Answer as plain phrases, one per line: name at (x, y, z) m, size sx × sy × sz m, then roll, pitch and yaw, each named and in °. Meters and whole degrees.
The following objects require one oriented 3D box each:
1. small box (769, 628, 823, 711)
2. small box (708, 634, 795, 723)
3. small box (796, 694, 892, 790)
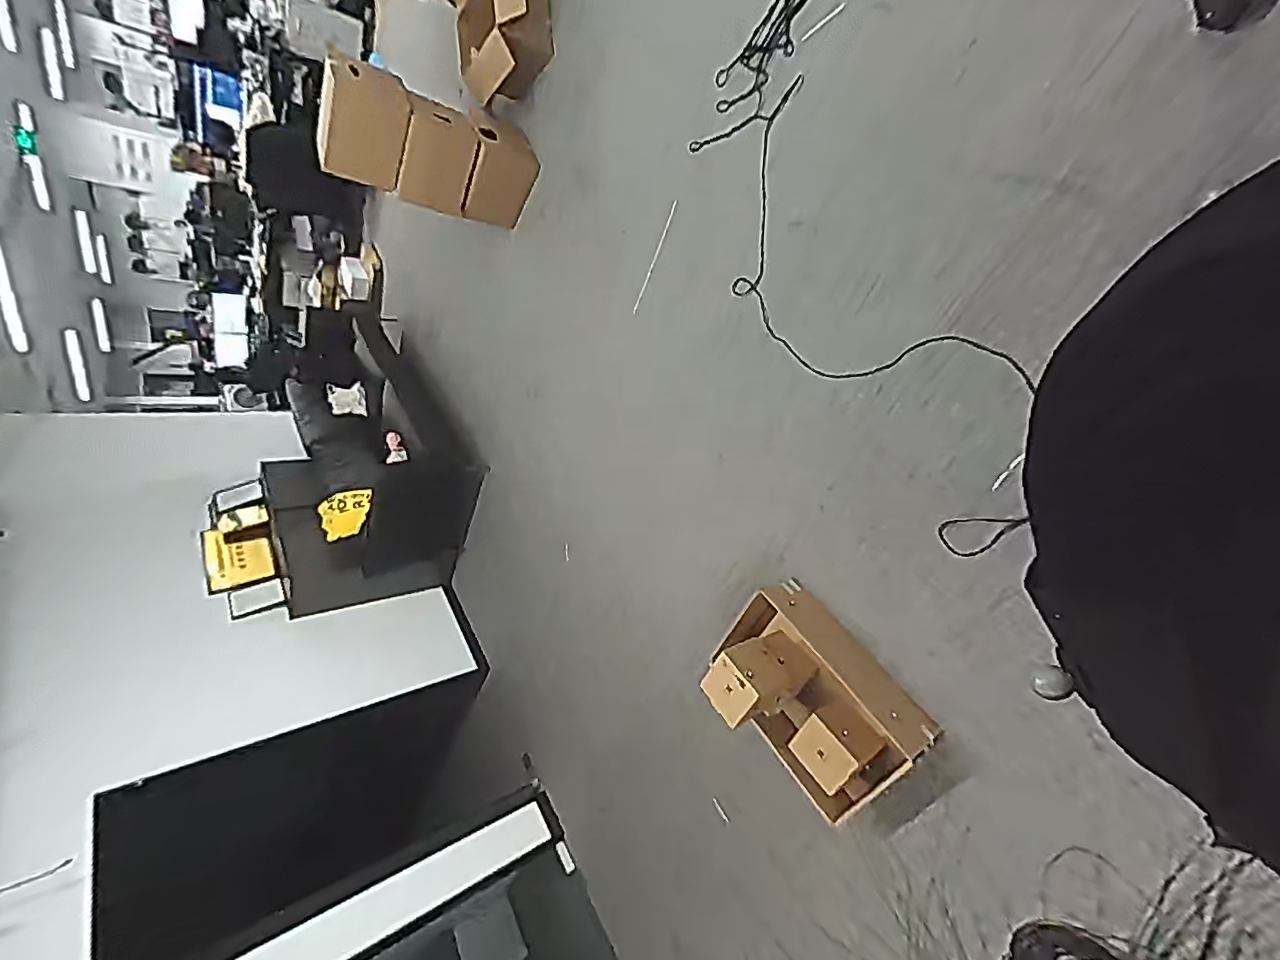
small box at (0.466, 0.616, 1.780) m, size 0.179 × 0.176 × 0.168 m, roll 44°, pitch 125°, yaw 37°
small box at (0.346, 0.607, 1.667) m, size 0.168 × 0.176 × 0.179 m, roll 47°, pitch 129°, yaw 34°
small box at (0.615, 0.778, 1.622) m, size 0.179 × 0.176 × 0.168 m, roll 47°, pitch 127°, yaw 38°
